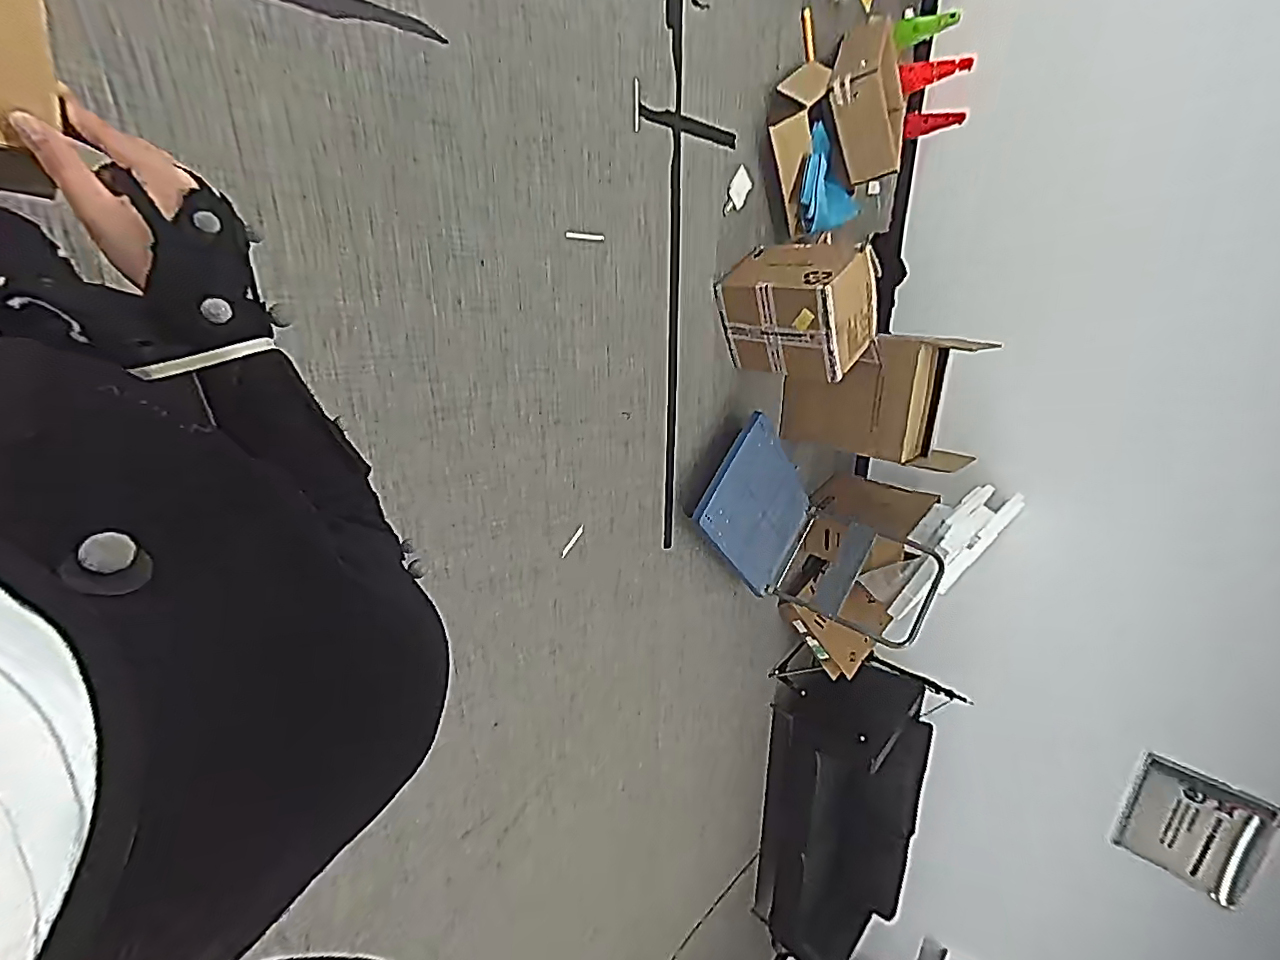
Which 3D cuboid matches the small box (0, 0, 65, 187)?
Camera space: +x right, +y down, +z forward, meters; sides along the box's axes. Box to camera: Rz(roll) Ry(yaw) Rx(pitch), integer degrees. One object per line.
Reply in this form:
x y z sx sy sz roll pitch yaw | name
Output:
-0.438 -0.281 0.285 0.168 0.176 0.179 -9 108 -47 | small box
